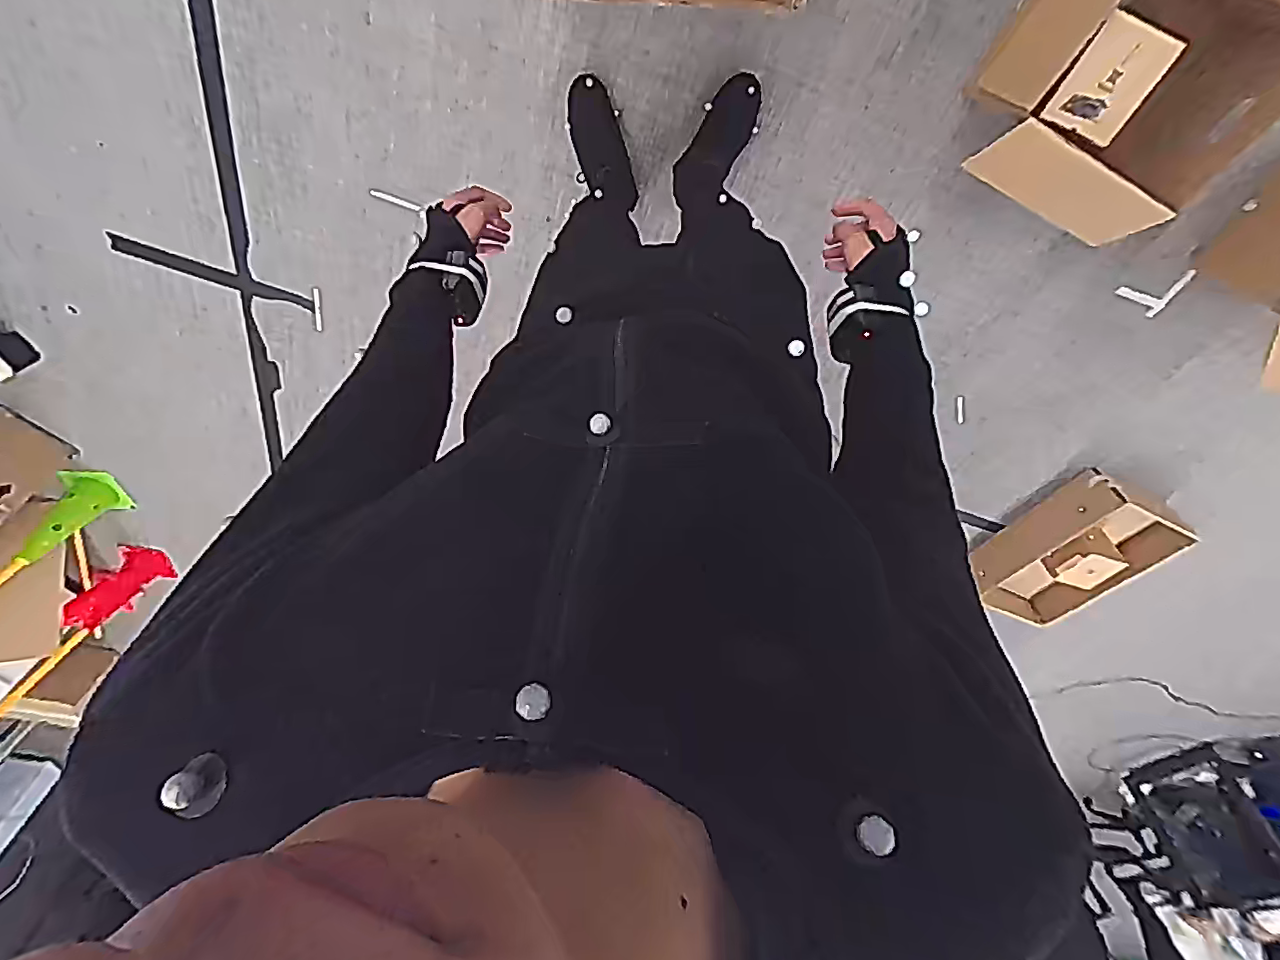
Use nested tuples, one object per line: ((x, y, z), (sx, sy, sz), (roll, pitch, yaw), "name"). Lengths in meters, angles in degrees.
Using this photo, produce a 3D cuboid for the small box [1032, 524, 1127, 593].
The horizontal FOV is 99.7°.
((1.600, 0.284, 1.981), (0.179, 0.176, 0.168), (16, 132, -12), "small box")
